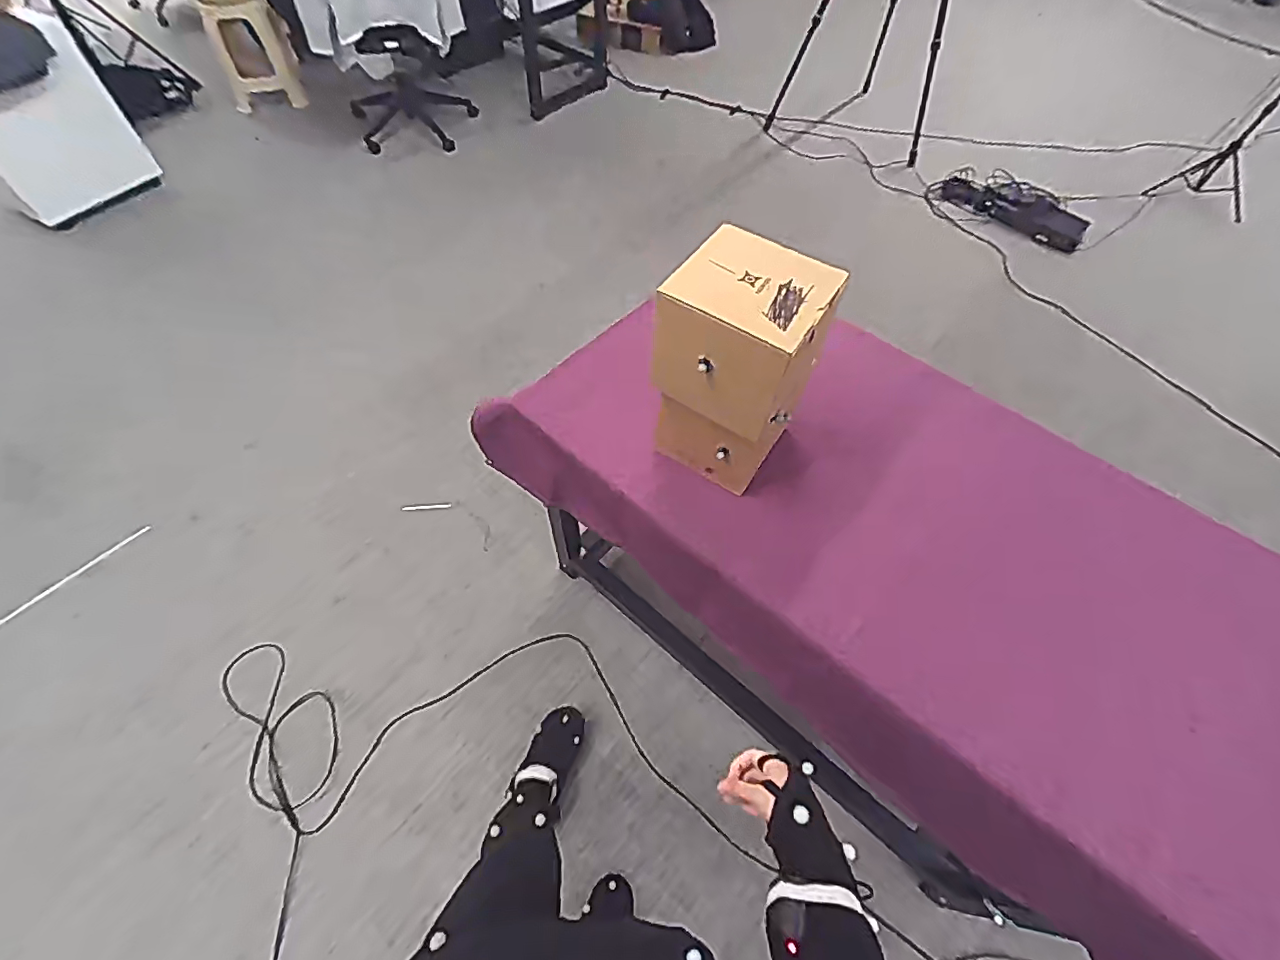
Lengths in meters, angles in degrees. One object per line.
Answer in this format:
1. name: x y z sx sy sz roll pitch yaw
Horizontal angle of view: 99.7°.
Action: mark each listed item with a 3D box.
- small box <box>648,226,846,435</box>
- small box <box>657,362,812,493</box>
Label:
1. small box: 0.127 -0.183 0.699 0.179 0.176 0.168 31 61 16
2. small box: 0.138 -0.111 0.848 0.168 0.176 0.179 32 61 15
